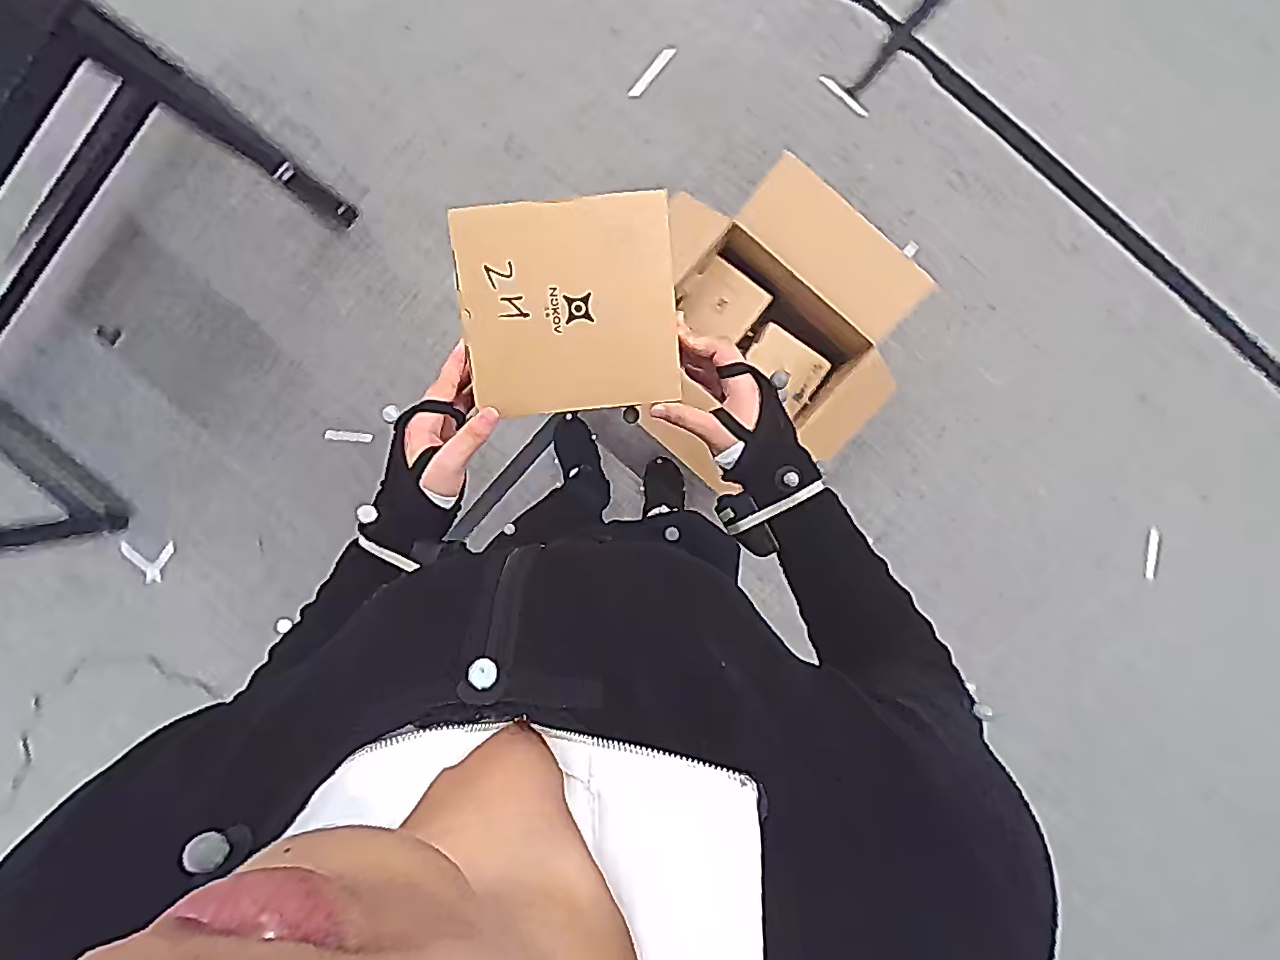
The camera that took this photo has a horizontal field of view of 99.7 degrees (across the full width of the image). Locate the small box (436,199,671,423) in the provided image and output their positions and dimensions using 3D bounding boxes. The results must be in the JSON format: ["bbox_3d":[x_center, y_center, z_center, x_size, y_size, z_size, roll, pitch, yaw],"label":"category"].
[{"bbox_3d":[-0.069,-0.151,0.520,0.179,0.176,0.168,-6,101,1],"label":"small box"}]
